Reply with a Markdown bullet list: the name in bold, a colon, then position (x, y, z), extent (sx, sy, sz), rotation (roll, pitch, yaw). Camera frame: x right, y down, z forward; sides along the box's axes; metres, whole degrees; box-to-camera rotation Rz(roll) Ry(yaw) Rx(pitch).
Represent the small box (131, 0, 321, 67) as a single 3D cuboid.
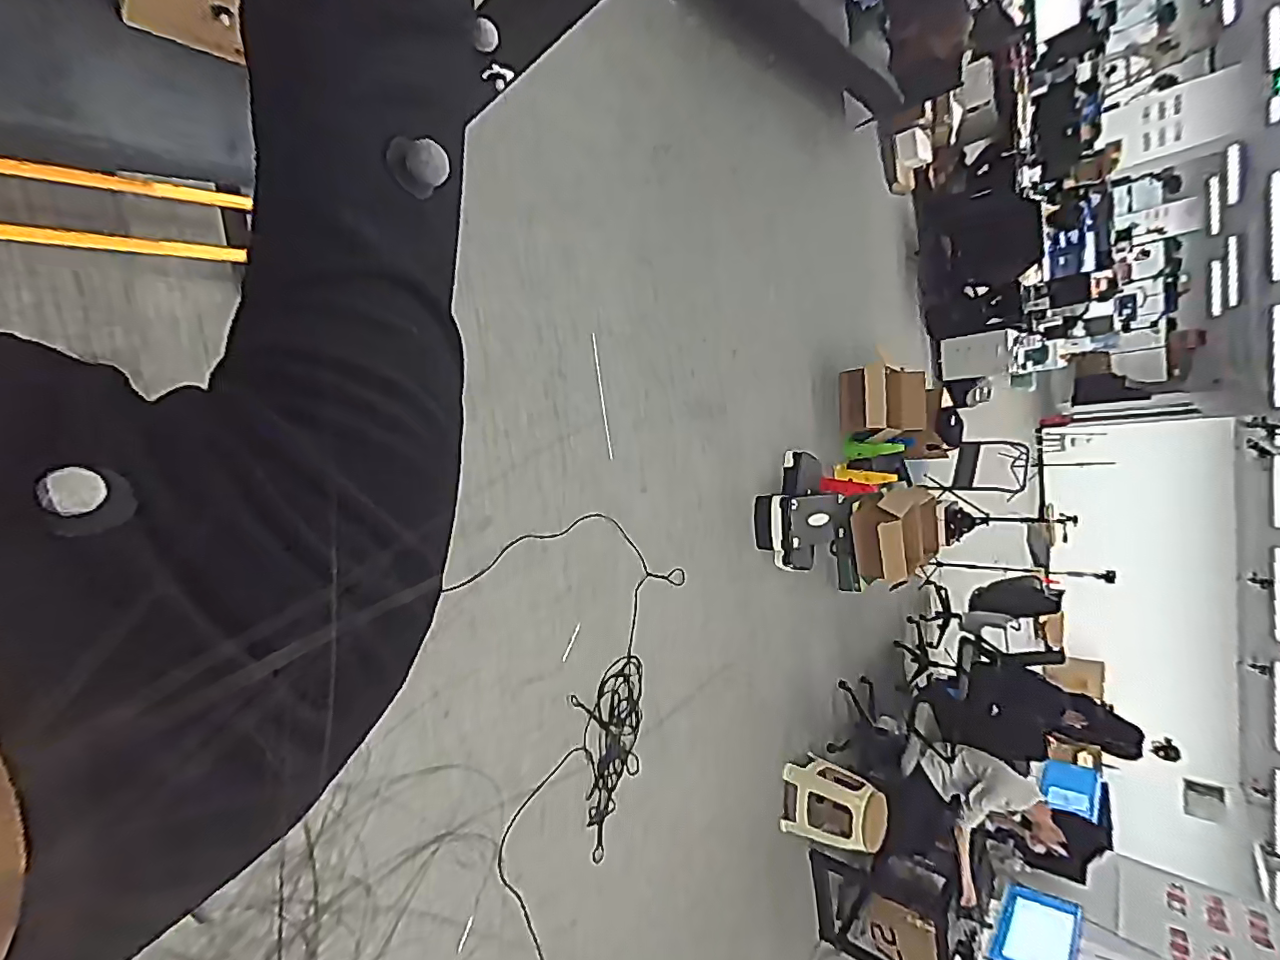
- **small box**: position (-0.453, -0.595, 0.574), extent (0.168, 0.176, 0.179), rotation (-10, 96, -47)
